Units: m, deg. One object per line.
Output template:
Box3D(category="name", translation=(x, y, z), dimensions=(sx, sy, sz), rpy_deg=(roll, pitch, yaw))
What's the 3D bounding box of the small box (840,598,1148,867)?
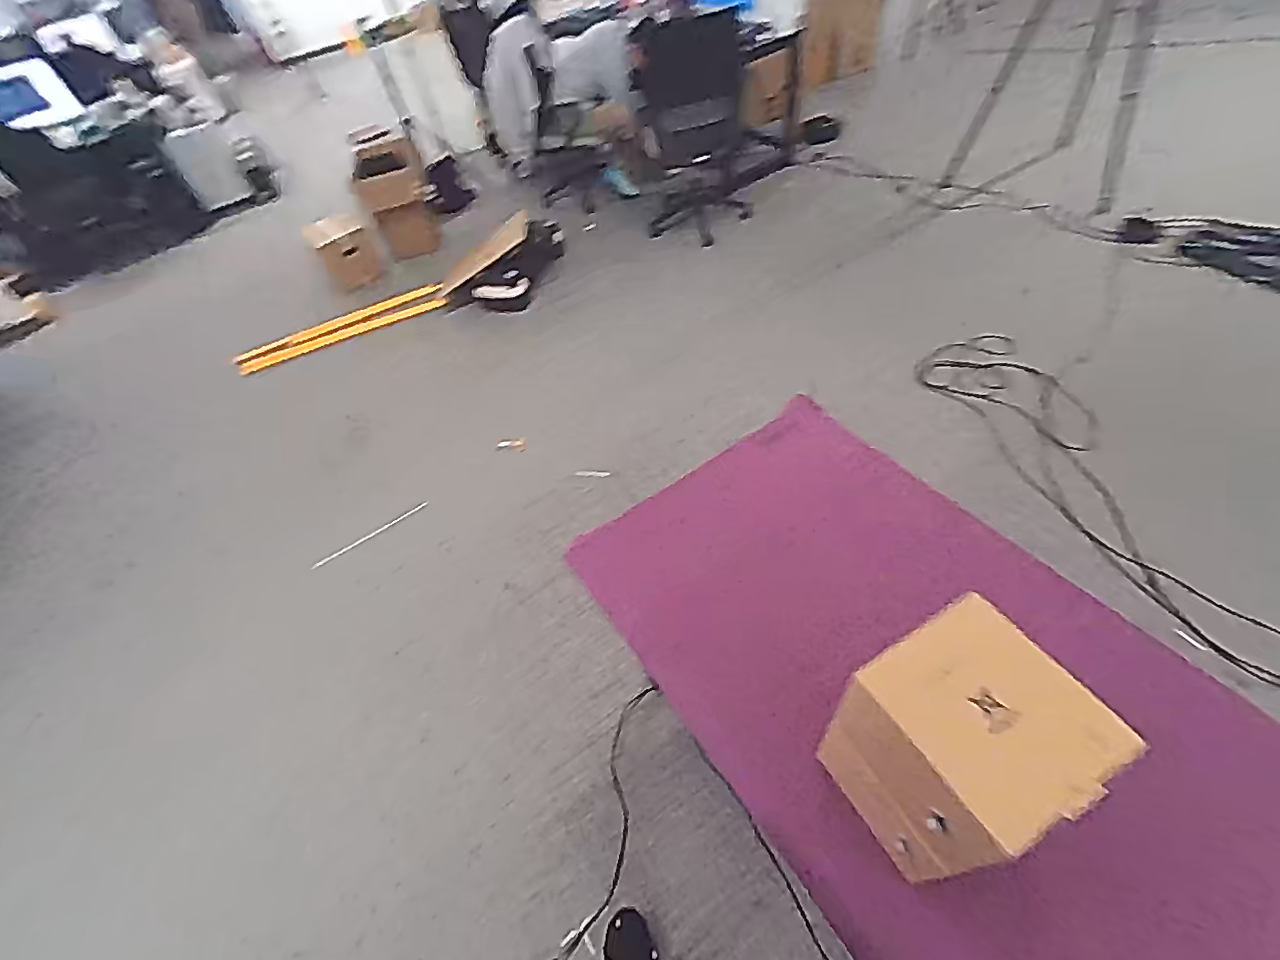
Box3D(category="small box", translation=(0.333, 0.261, 0.553), dimensions=(0.168, 0.176, 0.179), rpy_deg=(-27, 51, -12))
